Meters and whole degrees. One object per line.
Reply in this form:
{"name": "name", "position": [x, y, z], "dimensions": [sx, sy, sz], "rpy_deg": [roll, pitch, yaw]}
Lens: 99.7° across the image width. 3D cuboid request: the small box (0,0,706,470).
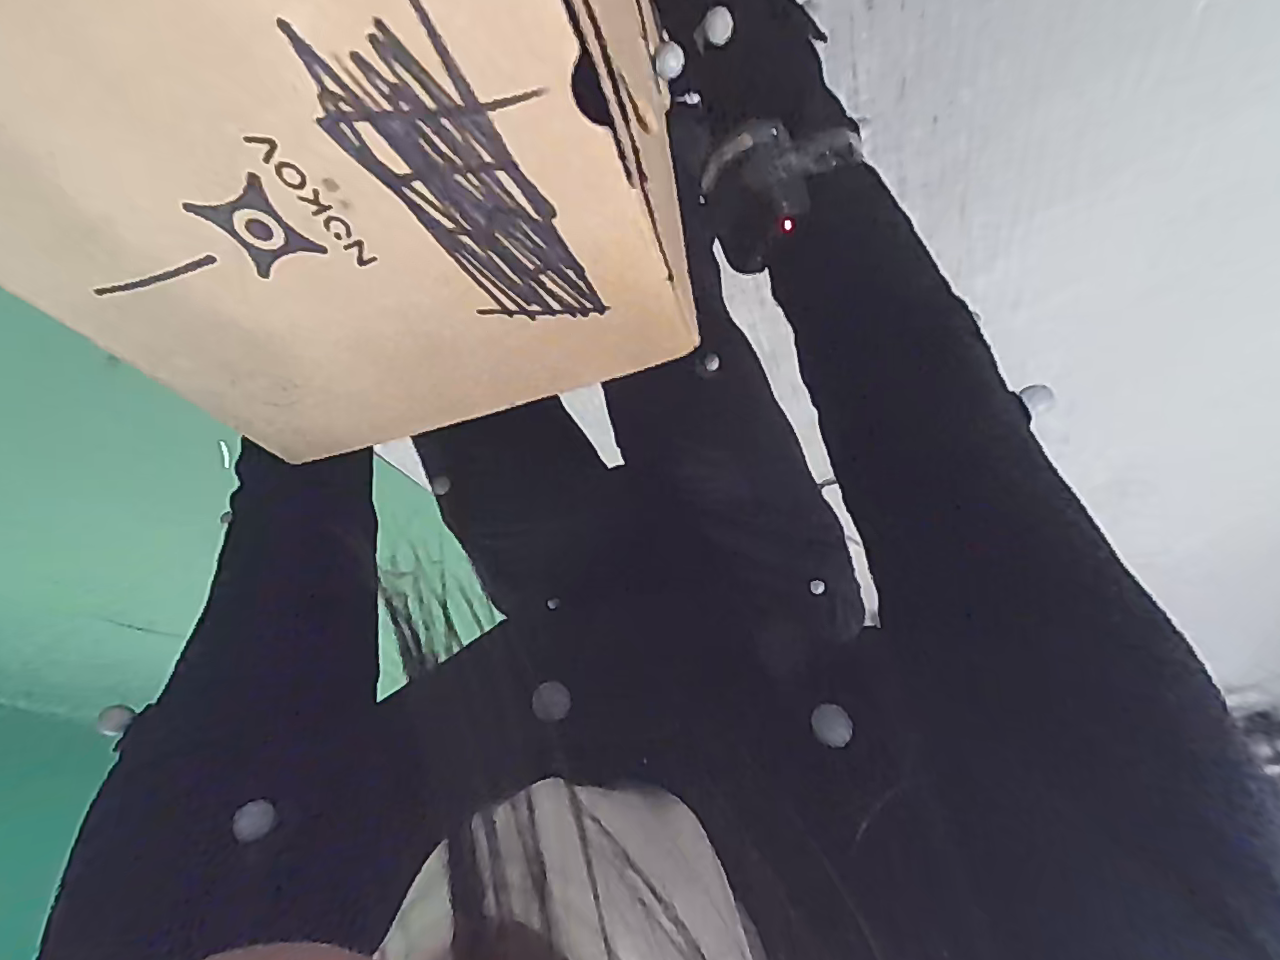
{"name": "small box", "position": [-0.087, -0.128, 0.173], "dimensions": [0.179, 0.176, 0.168], "rpy_deg": [-11, 147, 15]}
